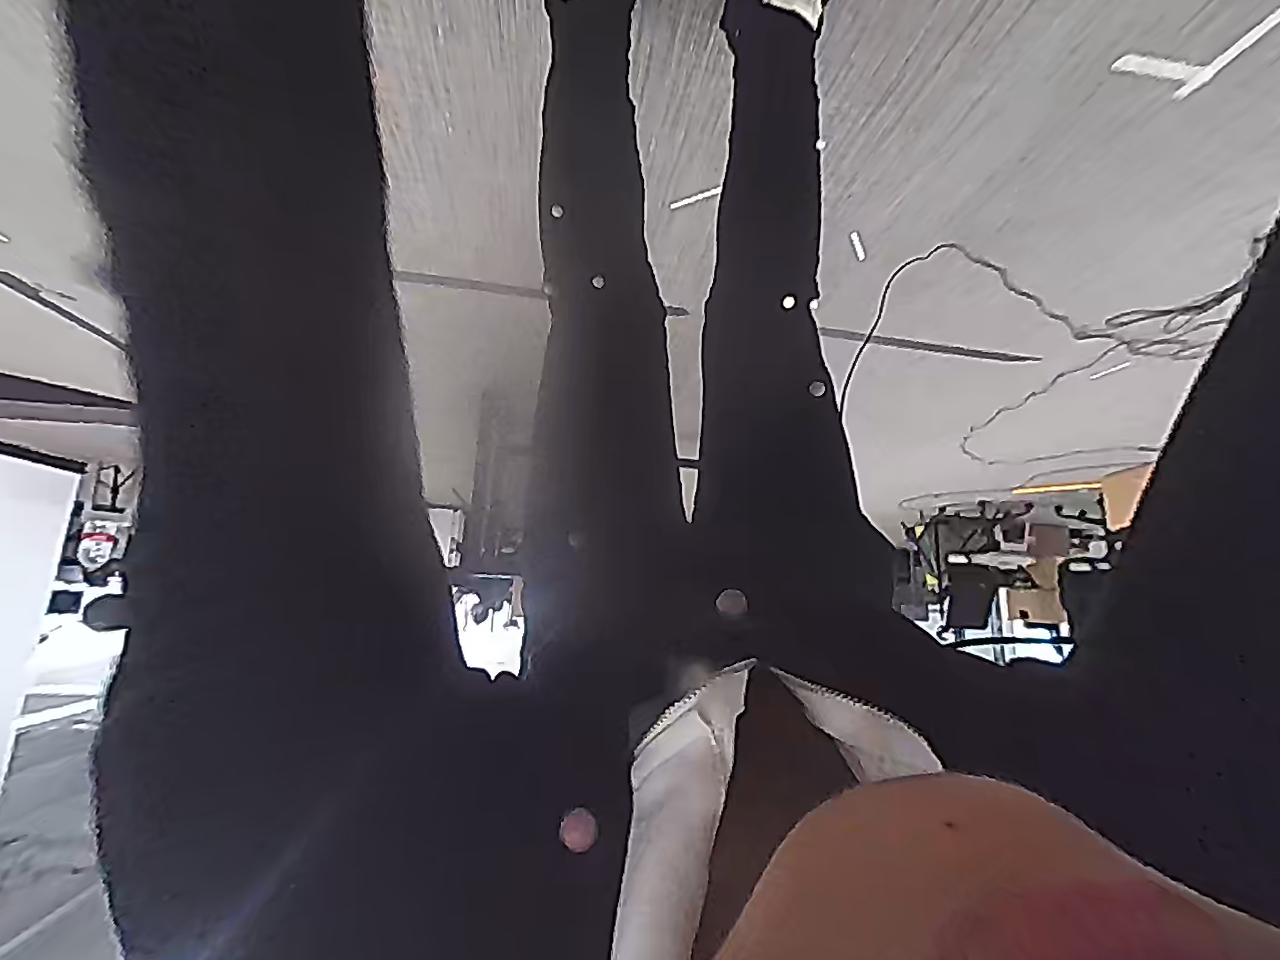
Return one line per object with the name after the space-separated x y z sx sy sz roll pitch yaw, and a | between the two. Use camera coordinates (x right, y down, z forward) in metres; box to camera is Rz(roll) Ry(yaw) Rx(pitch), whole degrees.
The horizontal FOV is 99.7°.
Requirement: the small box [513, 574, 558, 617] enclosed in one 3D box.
-0.444 0.490 2.300 0.179 0.176 0.168 5 168 -11 | small box
